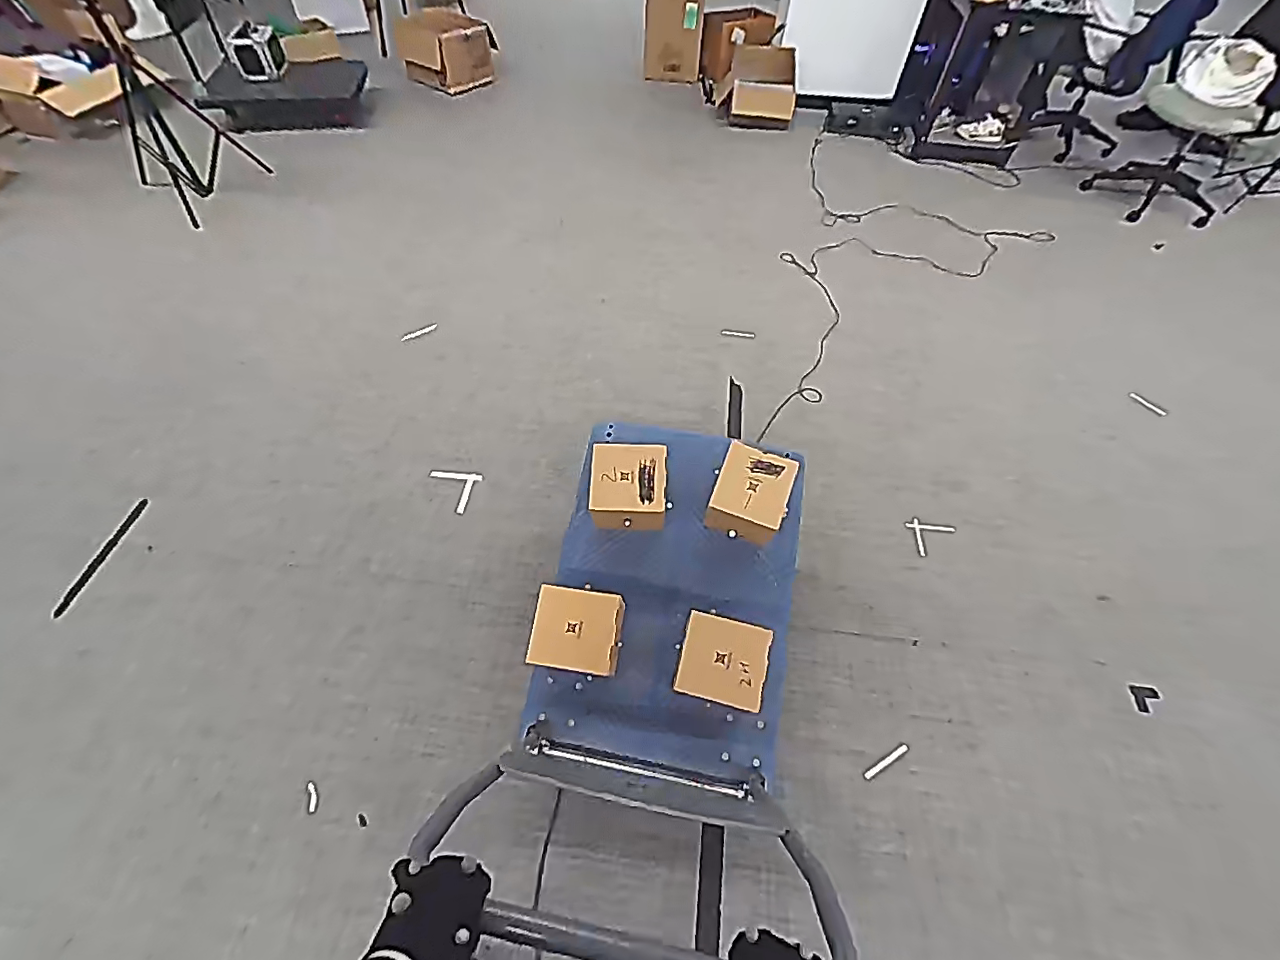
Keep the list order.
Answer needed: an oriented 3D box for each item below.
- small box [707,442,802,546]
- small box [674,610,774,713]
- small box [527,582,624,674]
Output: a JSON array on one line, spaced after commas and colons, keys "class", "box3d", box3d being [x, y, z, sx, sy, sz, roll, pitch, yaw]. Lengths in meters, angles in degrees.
[{"class": "small box", "box3d": [0.268, 0.039, 1.304, 0.168, 0.176, 0.179, 21, 73, 9]}, {"class": "small box", "box3d": [0.175, 0.396, 1.176, 0.179, 0.176, 0.168, 14, 72, 7]}, {"class": "small box", "box3d": [-0.135, 0.337, 1.209, 0.179, 0.176, 0.168, 8, 70, 3]}]
